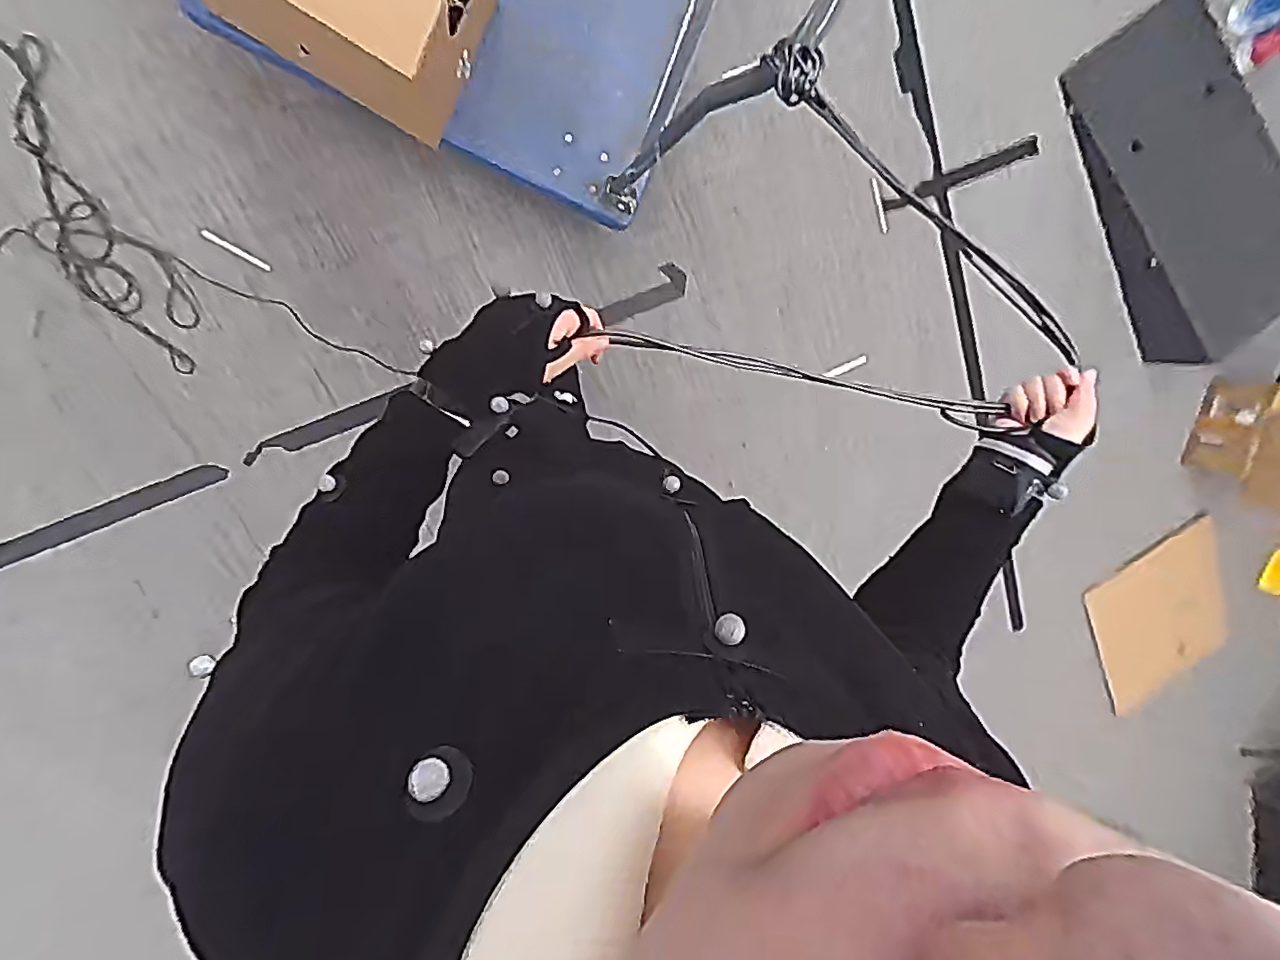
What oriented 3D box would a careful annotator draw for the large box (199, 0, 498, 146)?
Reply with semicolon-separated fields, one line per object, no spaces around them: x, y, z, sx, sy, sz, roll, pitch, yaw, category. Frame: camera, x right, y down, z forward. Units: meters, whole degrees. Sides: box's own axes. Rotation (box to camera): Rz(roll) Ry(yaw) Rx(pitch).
-0.466;-0.819;0.840;0.408;0.320;0.320;25;96;-18;large box
